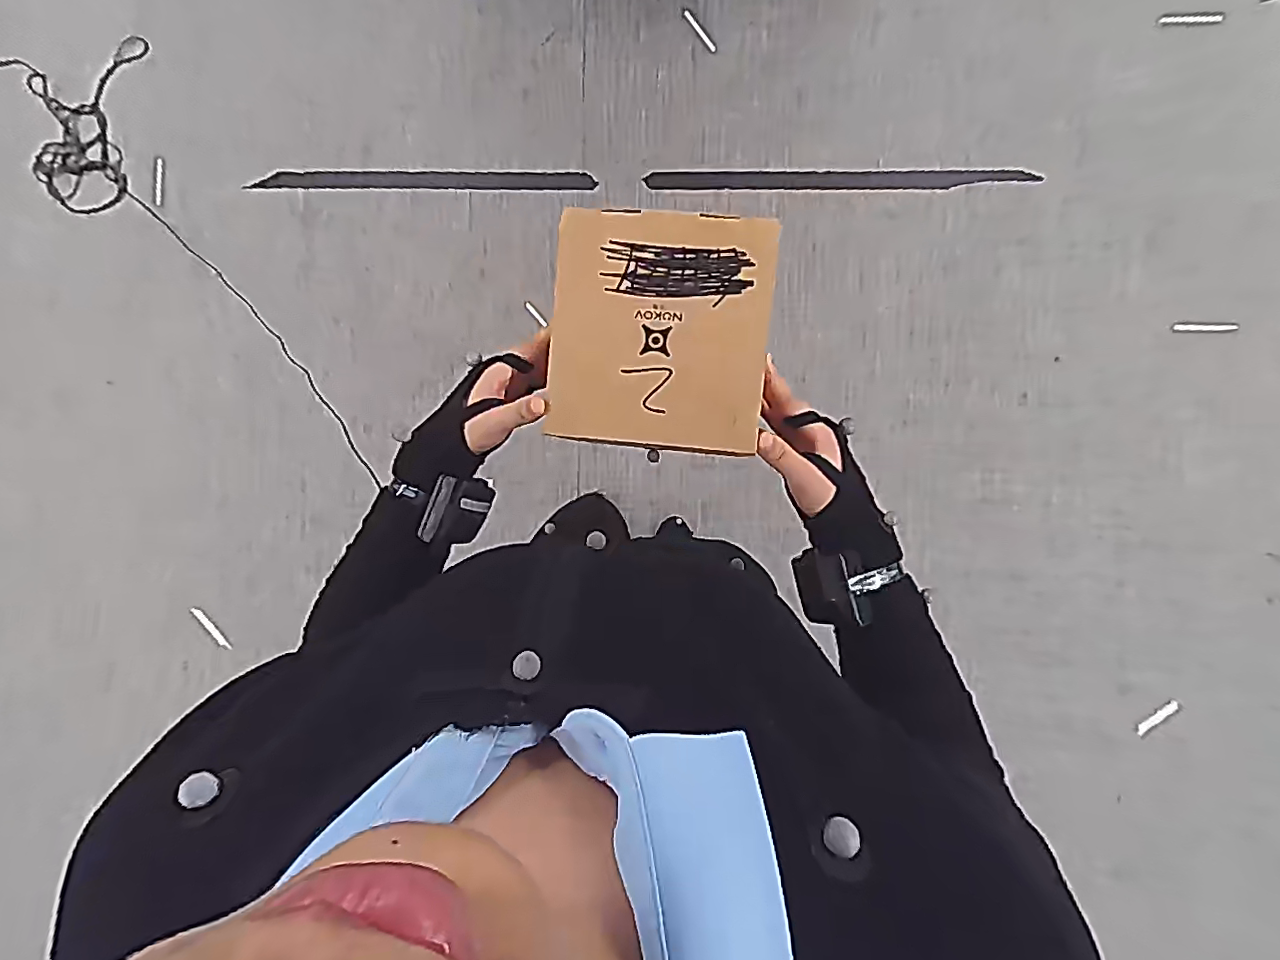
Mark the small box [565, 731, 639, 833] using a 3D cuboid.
[{"bbox_3d":[-0.094,0.780,1.407,0.168,0.176,0.179,-4,89,3],"label":"small box"}]
